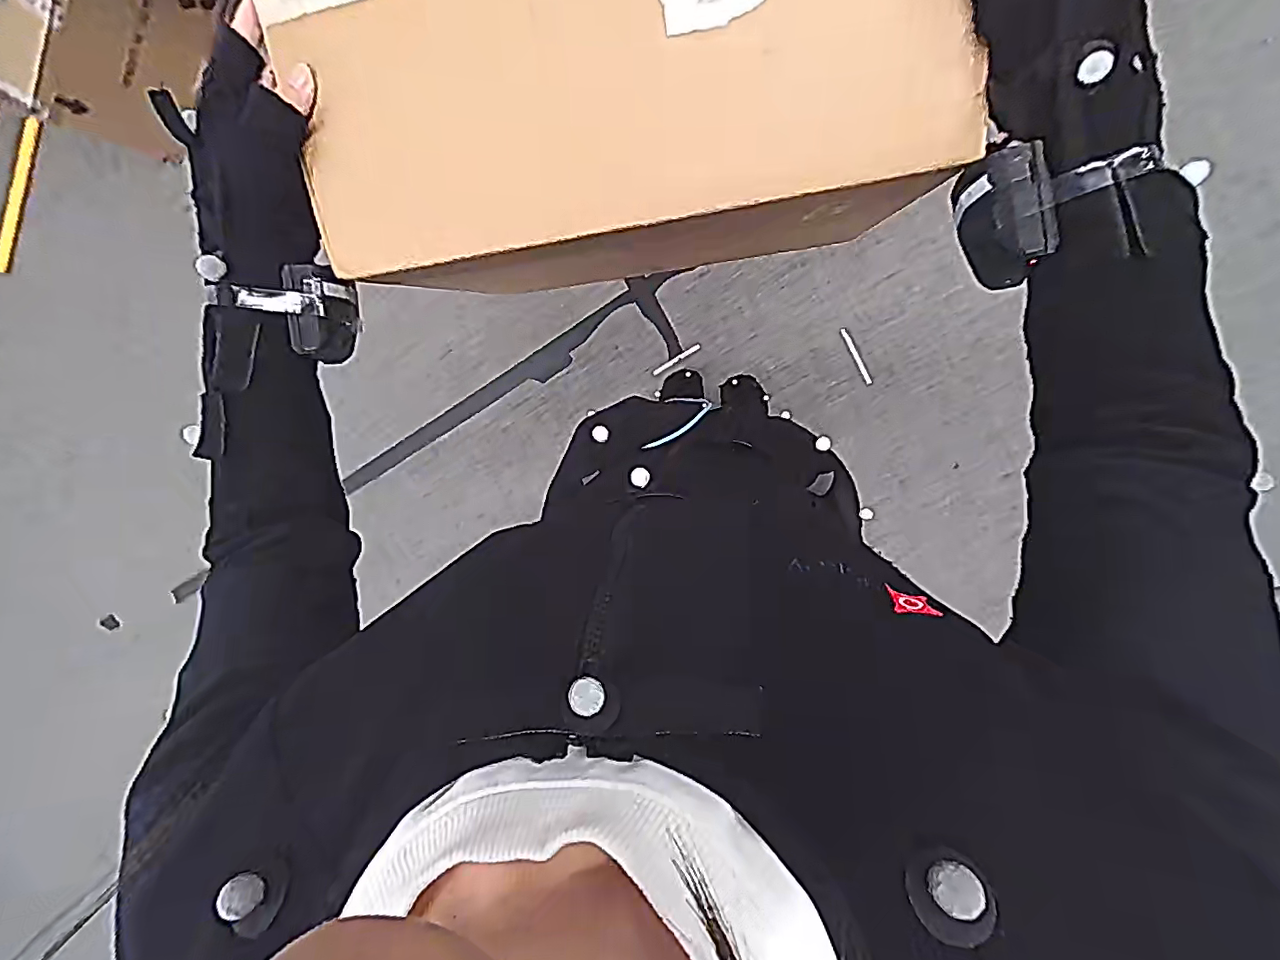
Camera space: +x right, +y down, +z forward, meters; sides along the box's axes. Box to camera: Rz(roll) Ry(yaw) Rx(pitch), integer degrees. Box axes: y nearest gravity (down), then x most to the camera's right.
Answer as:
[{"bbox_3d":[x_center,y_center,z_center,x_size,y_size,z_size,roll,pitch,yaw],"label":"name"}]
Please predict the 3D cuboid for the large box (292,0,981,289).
[{"bbox_3d":[-0.004,-0.356,0.444,0.408,0.320,0.320,-5,106,10],"label":"large box"}]
